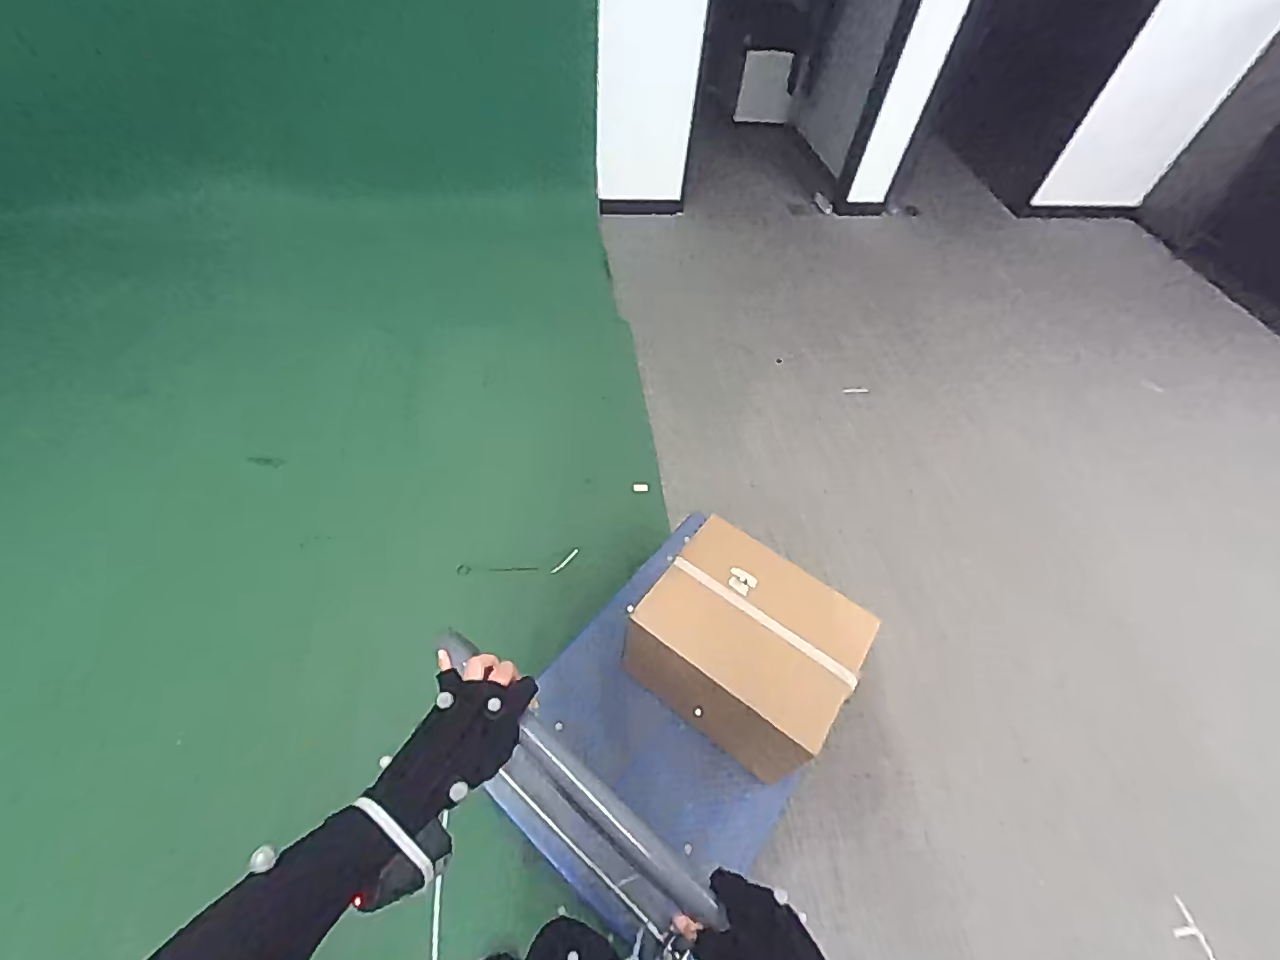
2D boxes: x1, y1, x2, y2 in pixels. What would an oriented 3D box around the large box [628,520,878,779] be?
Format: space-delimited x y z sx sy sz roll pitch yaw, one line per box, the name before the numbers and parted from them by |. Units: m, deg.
large box | 0.223 0.367 1.178 0.408 0.320 0.320 32 55 19
